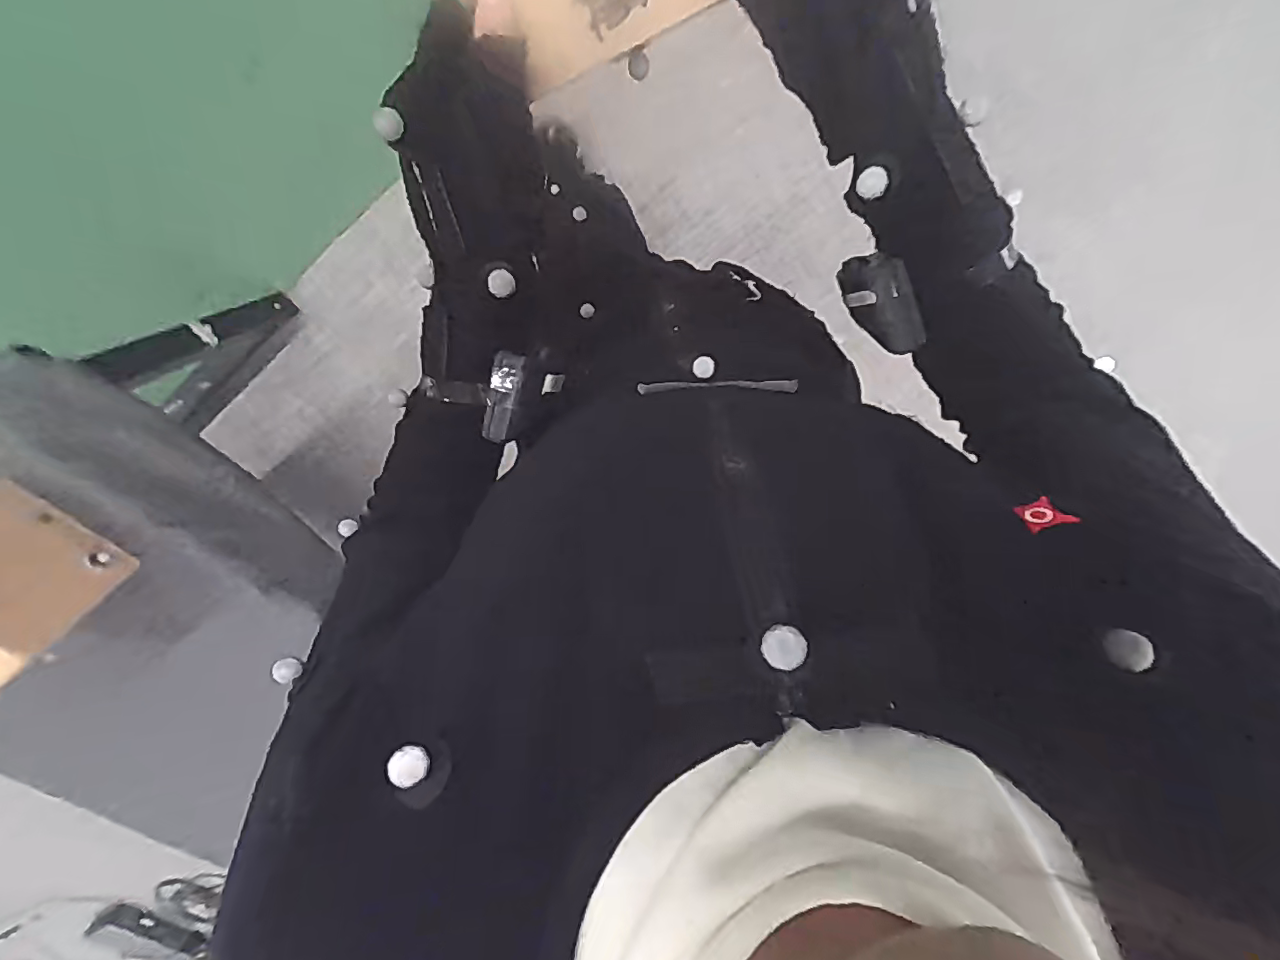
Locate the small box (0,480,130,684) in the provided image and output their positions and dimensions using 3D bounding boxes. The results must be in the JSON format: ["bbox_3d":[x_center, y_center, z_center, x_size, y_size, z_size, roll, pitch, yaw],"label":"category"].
[{"bbox_3d":[-0.753,0.131,0.618,0.179,0.176,0.168,-34,116,15],"label":"small box"}]

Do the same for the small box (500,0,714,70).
[{"bbox_3d":[-0.019,-0.351,0.288,0.168,0.176,0.179,-19,127,9],"label":"small box"}]
